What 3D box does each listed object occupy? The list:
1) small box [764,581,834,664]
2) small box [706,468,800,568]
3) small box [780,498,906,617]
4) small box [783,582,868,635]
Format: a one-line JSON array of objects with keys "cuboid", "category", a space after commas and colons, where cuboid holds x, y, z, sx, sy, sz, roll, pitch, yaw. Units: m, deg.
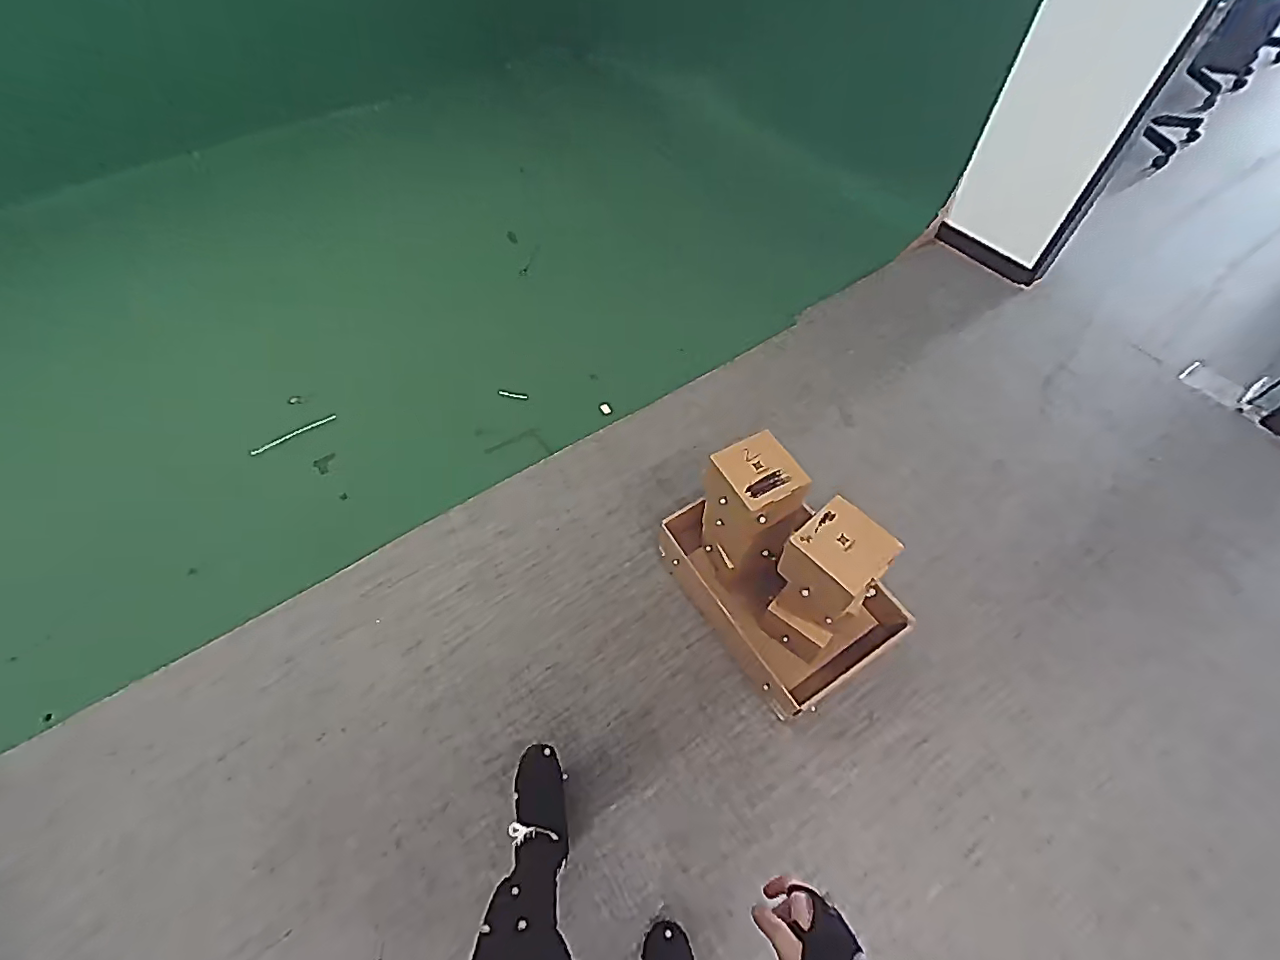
[{"cuboid": [0.451, 0.365, 1.457, 0.168, 0.176, 0.179, 35, 65, 23], "category": "small box"}, {"cuboid": [0.290, 0.104, 1.437, 0.168, 0.176, 0.179, -26, 62, -14], "category": "small box"}, {"cuboid": [0.435, 0.179, 1.189, 0.168, 0.176, 0.179, -36, 63, -19], "category": "small box"}, {"cuboid": [0.465, 0.255, 1.332, 0.168, 0.176, 0.179, 26, 61, 18], "category": "small box"}]
